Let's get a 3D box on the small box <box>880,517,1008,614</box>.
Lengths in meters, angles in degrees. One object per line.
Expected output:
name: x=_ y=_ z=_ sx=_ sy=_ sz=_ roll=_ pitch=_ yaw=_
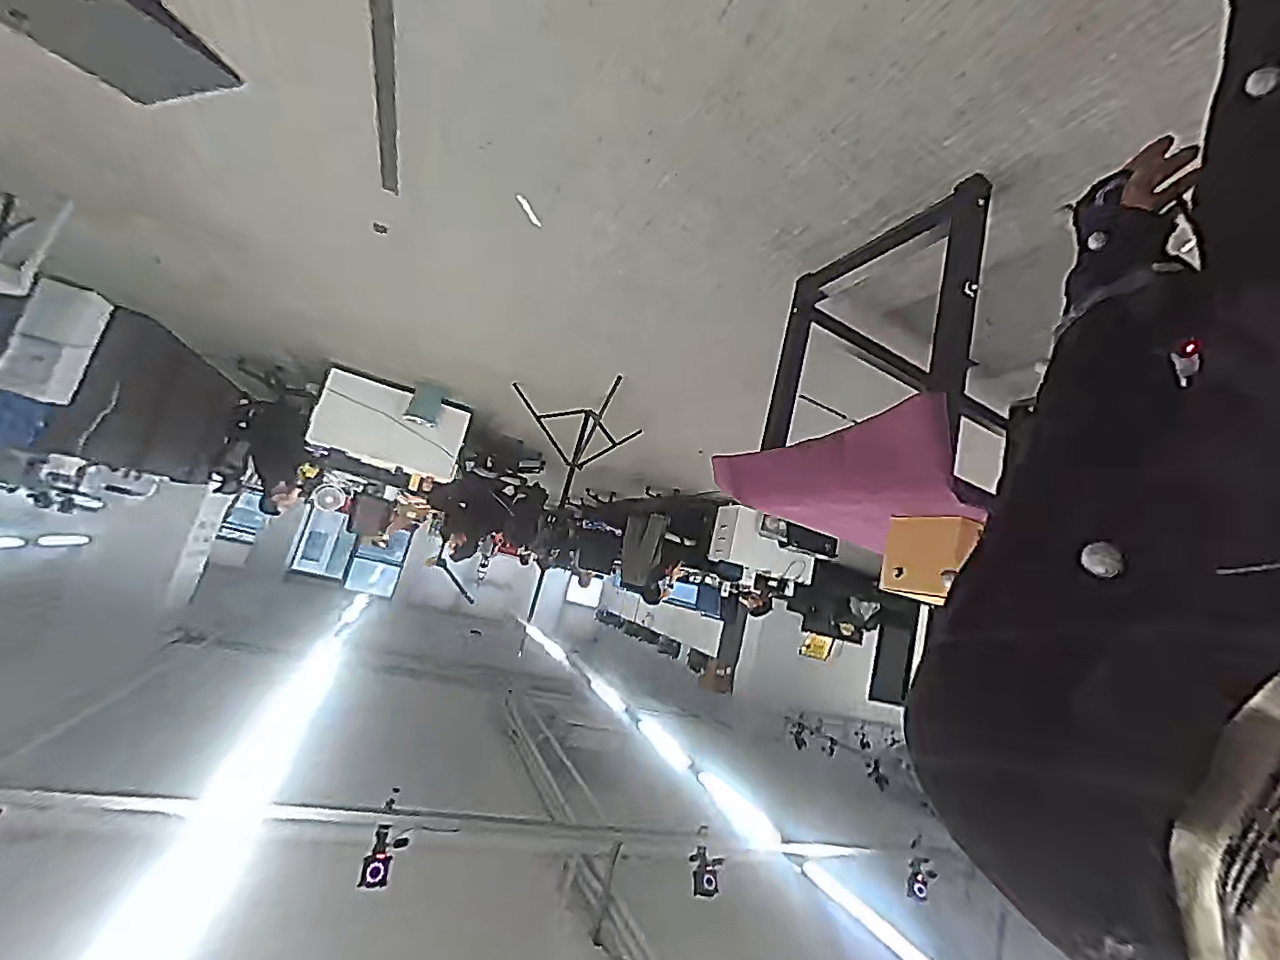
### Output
small box: x=0.654 y=0.177 z=1.163 sx=0.168 sy=0.176 sz=0.179 roll=17 pitch=169 yaw=-22
